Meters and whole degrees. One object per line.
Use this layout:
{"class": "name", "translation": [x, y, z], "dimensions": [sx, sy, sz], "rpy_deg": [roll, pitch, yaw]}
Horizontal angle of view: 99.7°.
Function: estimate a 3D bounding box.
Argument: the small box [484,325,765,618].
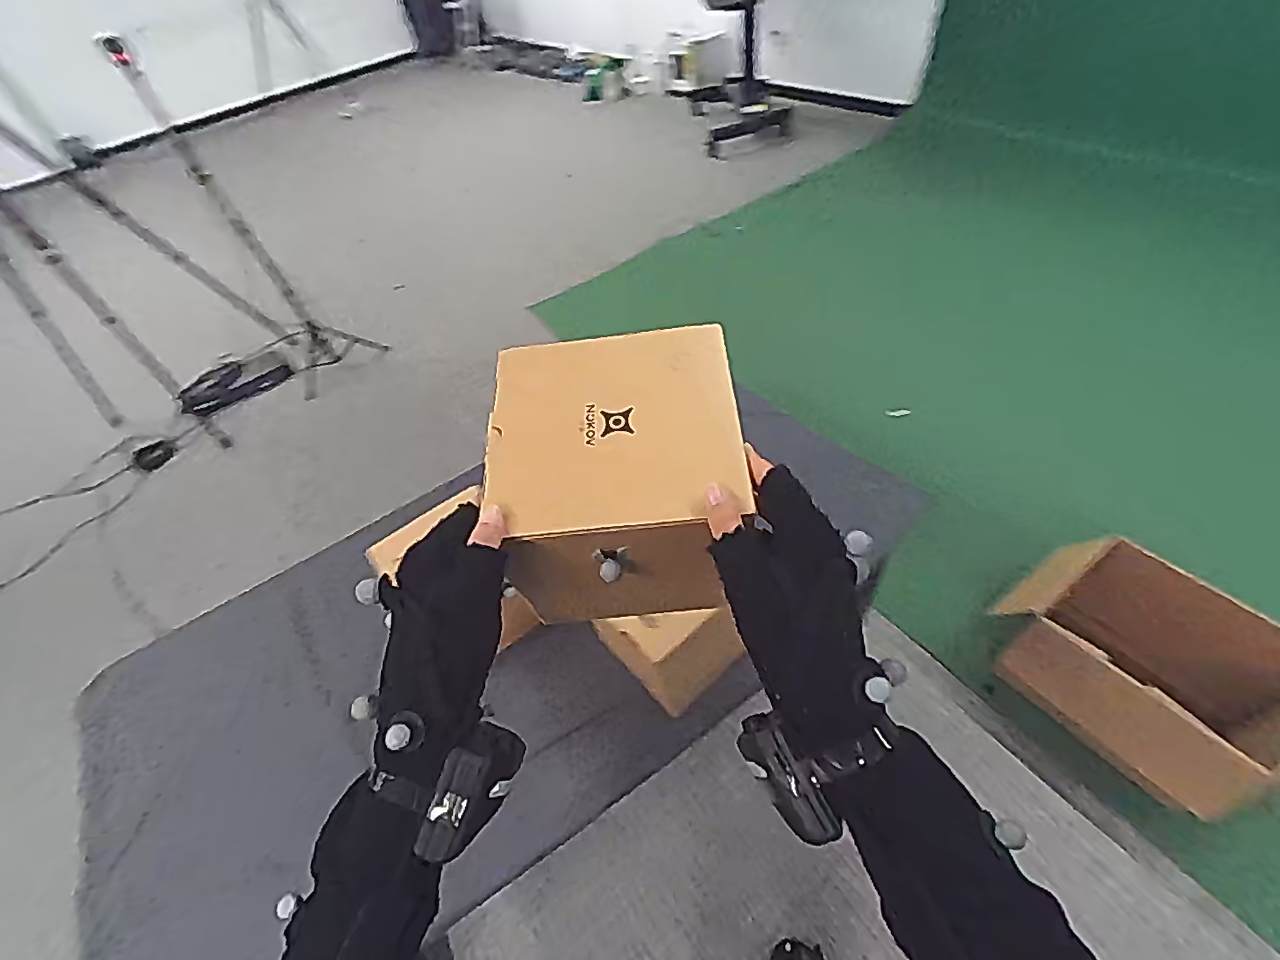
{"class": "small box", "translation": [-0.004, 0.004, 0.437], "dimensions": [0.179, 0.176, 0.168], "rpy_deg": [-6, 58, 6]}
